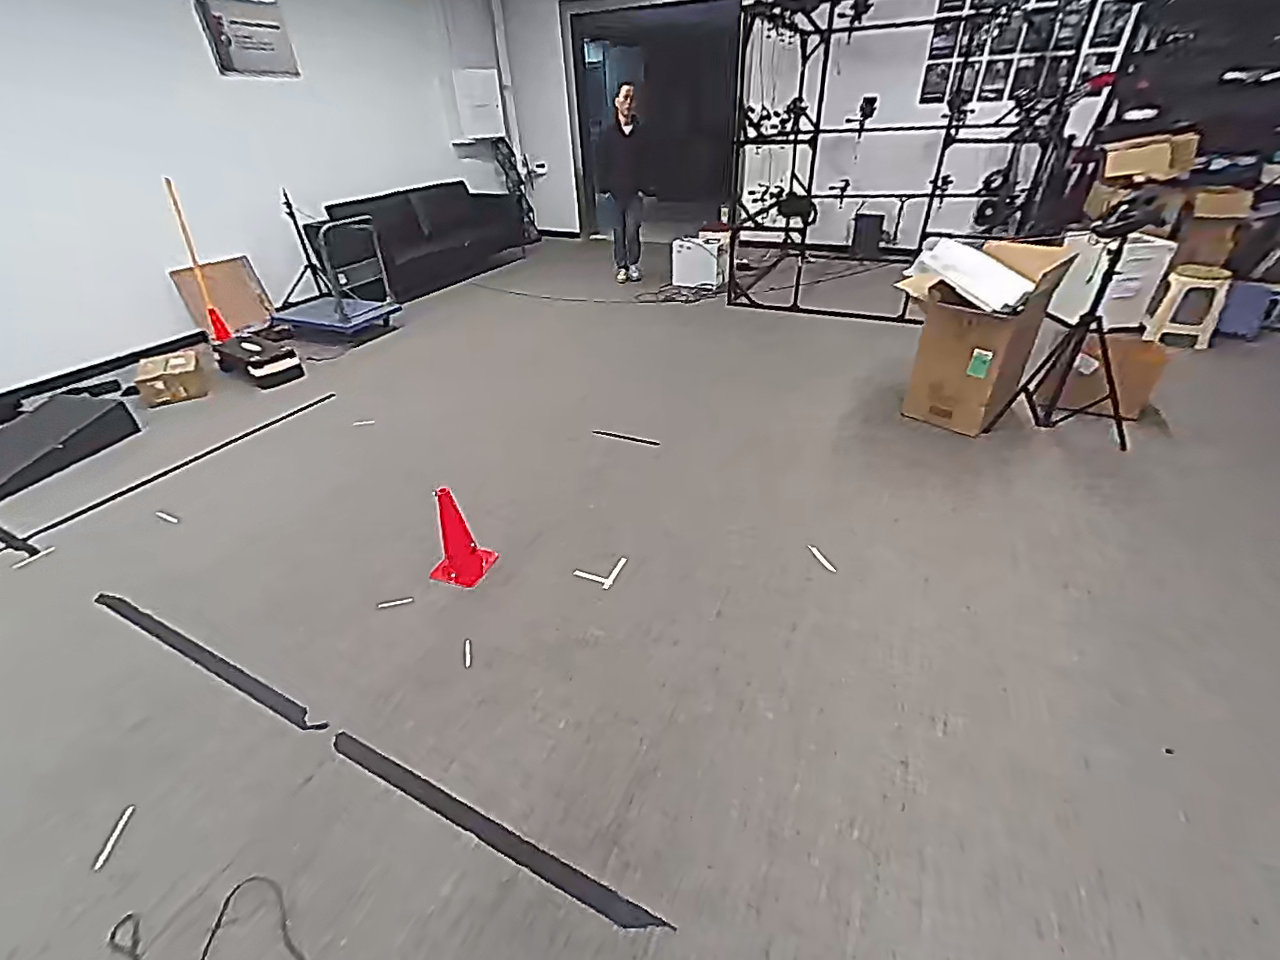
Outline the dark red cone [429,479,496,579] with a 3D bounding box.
[{"bbox_3d":[-0.683,0.164,1.981,0.202,0.394,0.201,9,37,17],"label":"dark red cone"}]
